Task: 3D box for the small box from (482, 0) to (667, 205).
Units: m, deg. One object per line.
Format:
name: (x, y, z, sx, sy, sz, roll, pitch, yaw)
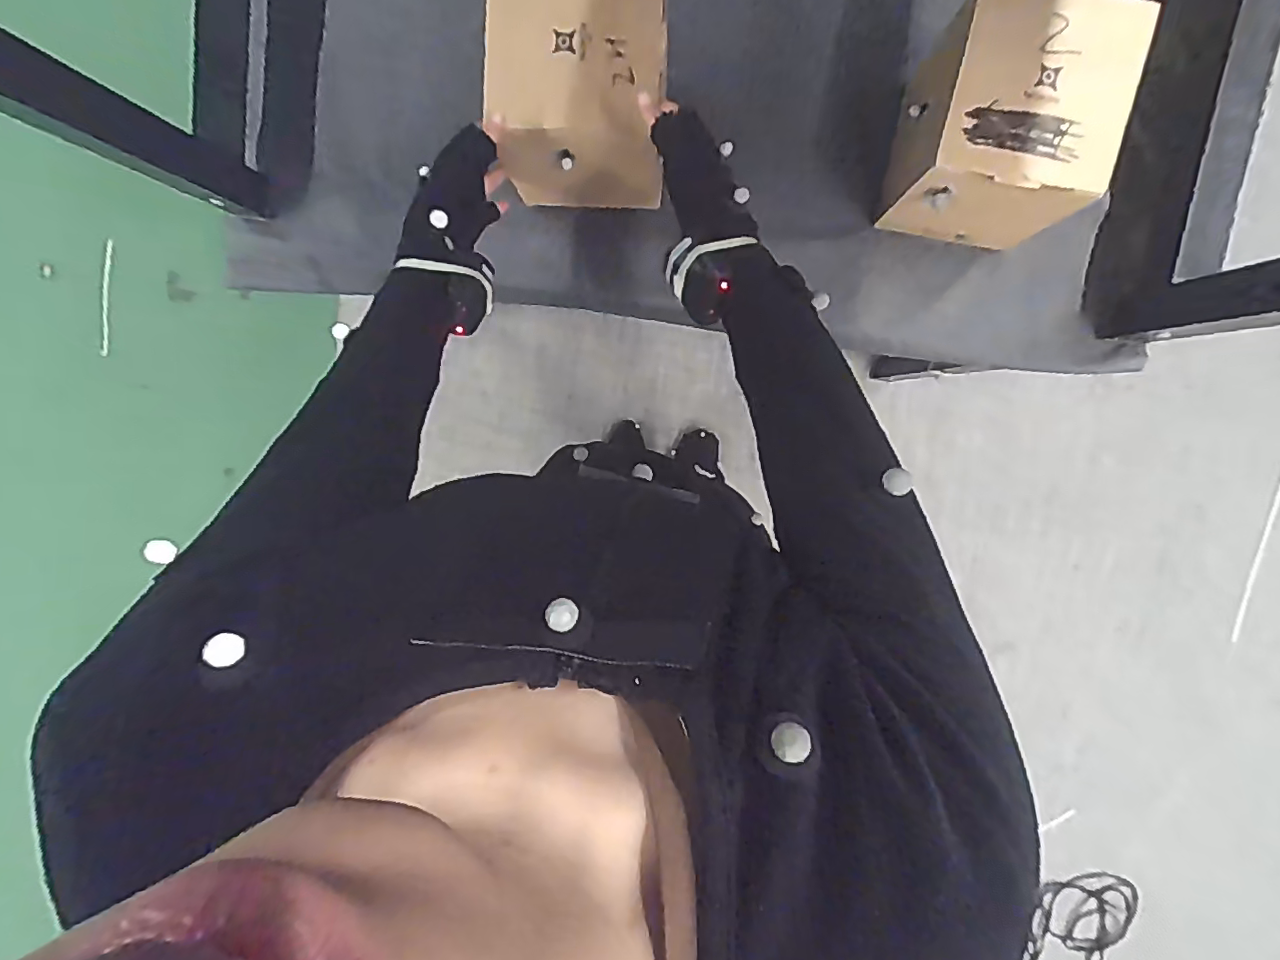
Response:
small box: (-0.062, -0.428, 0.605, 0.179, 0.176, 0.168, 3, 95, 2)
